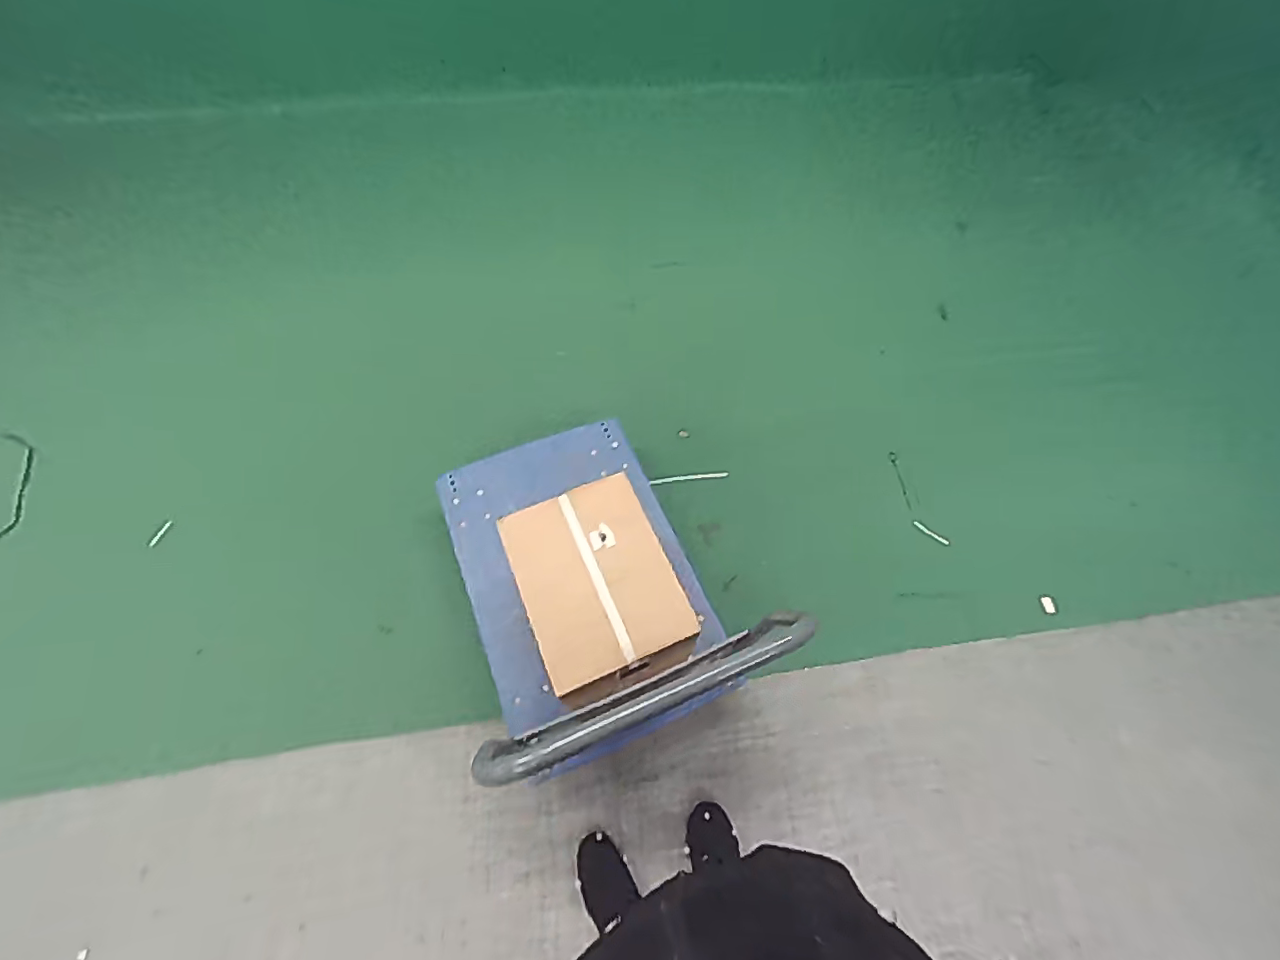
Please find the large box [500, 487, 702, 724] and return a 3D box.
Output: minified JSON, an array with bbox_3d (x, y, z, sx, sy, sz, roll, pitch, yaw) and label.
[{"bbox_3d":[-0.090,0.299,1.278,0.320,0.320,0.408,-21,62,-12],"label":"large box"}]
